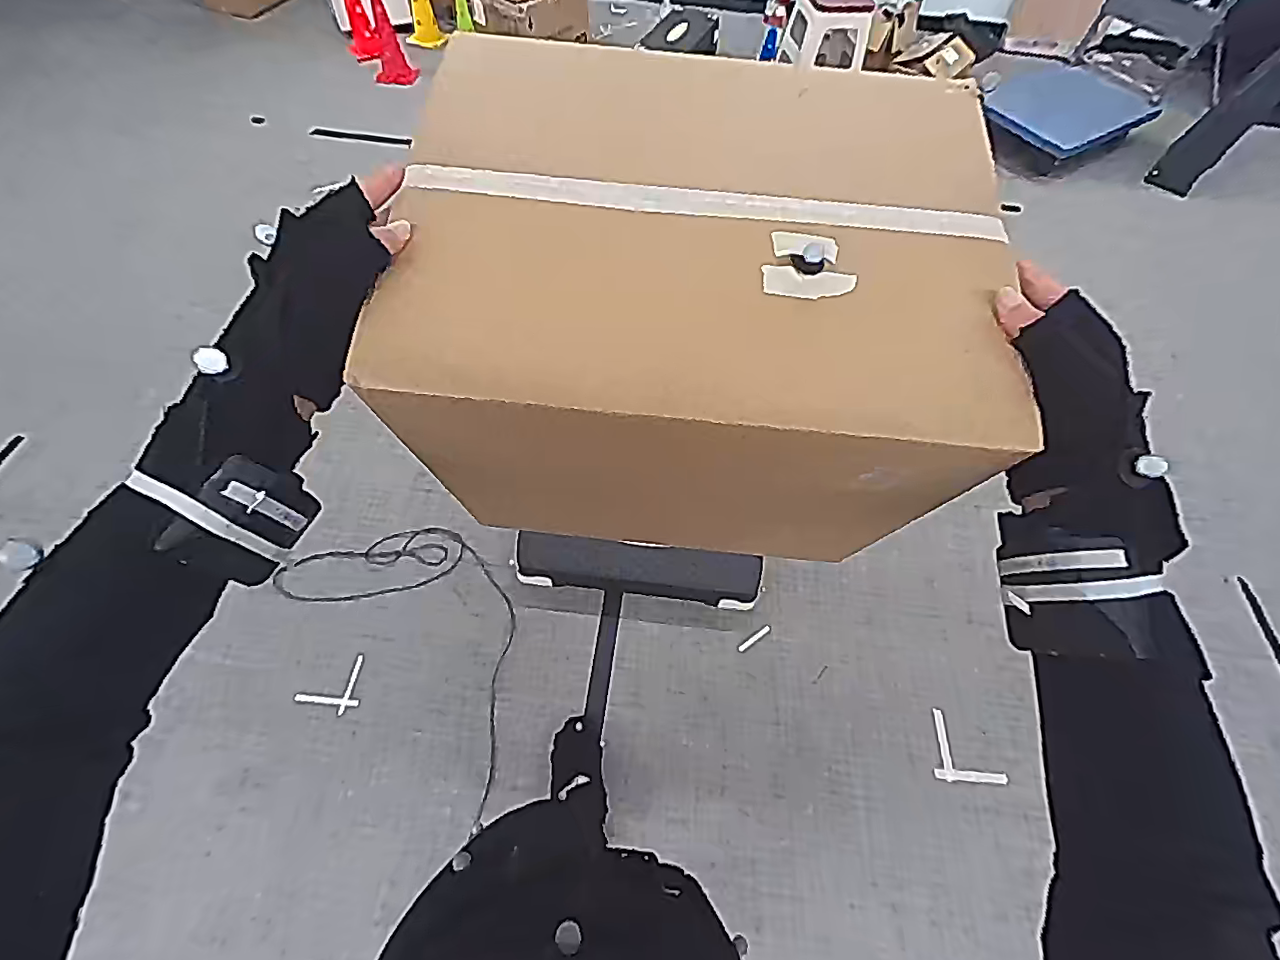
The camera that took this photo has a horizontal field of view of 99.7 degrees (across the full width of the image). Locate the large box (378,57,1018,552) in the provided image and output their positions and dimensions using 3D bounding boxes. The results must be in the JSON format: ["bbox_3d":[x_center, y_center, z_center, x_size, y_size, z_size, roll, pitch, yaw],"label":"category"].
[{"bbox_3d":[0.040,-0.128,0.519,0.408,0.320,0.320,6,70,-1],"label":"large box"}]
